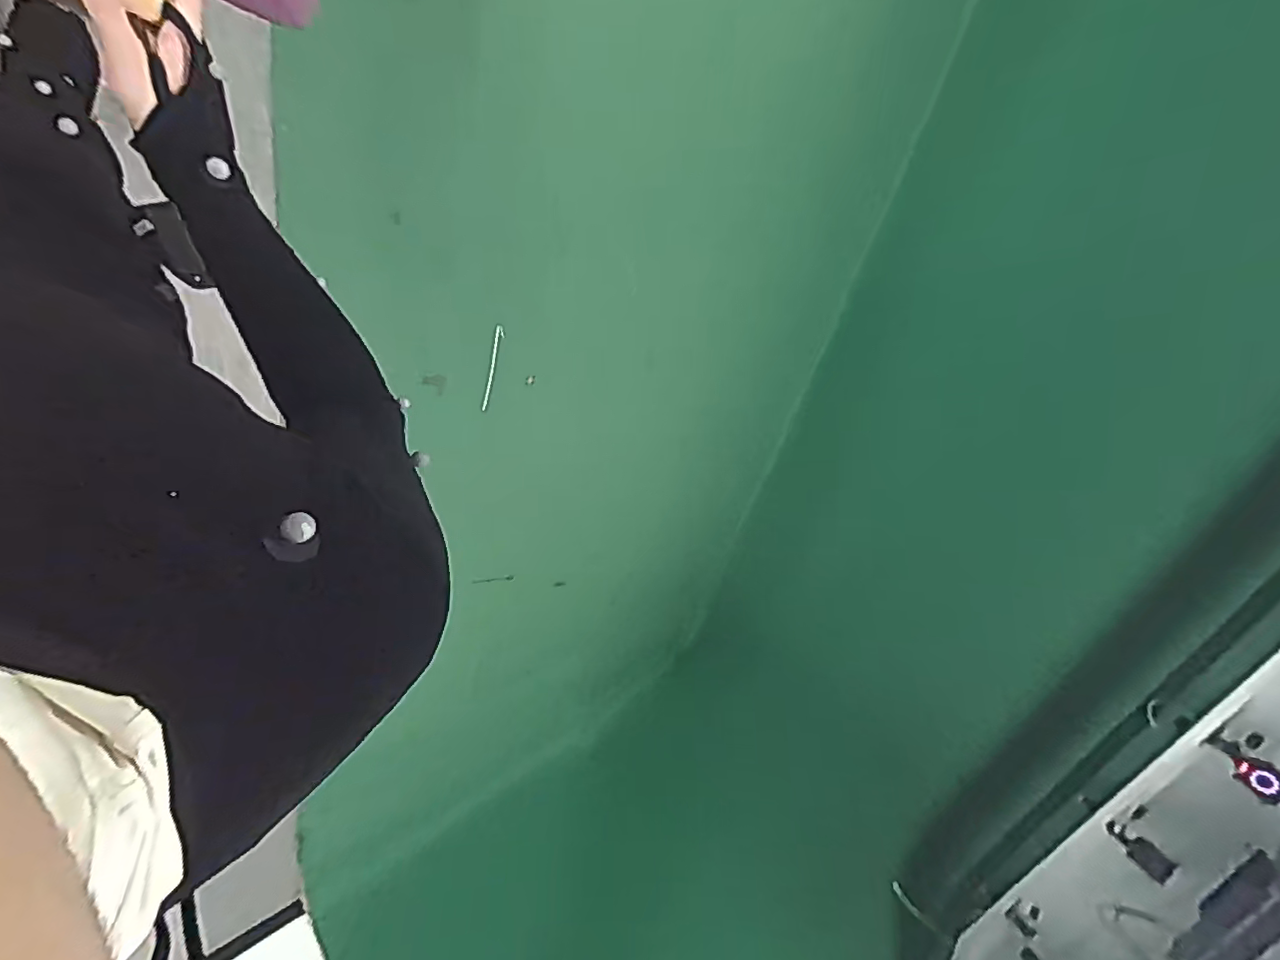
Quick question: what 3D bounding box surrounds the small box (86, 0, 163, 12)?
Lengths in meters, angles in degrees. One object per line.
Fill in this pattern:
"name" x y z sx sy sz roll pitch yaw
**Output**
"small box" -0.443 -0.474 0.373 0.168 0.176 0.179 1 116 -51
